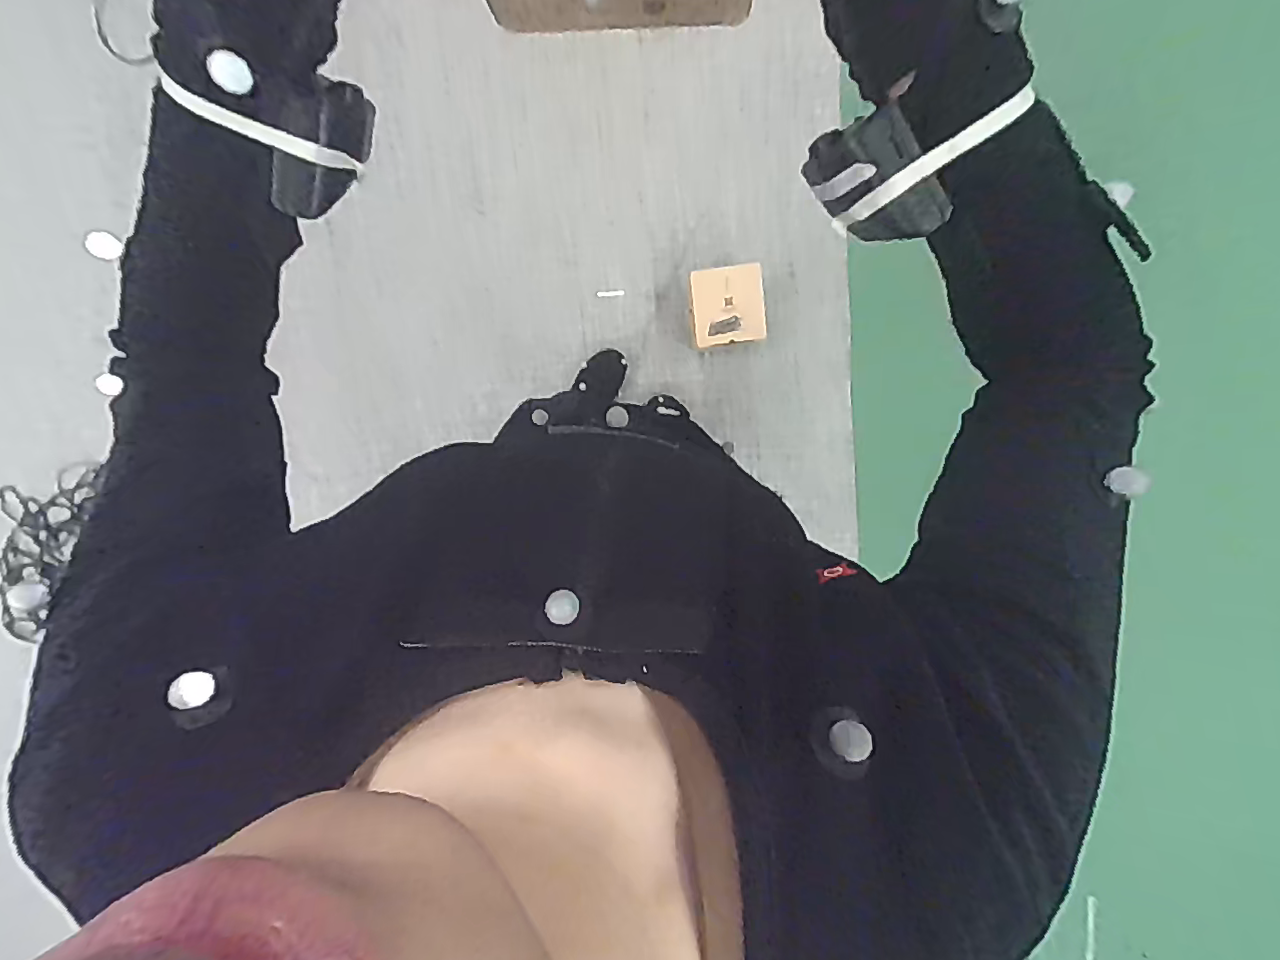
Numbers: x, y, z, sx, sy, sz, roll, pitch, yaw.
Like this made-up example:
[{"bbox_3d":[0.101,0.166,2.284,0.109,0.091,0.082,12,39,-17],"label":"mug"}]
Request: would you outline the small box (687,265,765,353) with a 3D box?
[{"bbox_3d":[0.206,-0.409,1.324,0.168,0.176,0.179,-6,98,3],"label":"small box"}]
